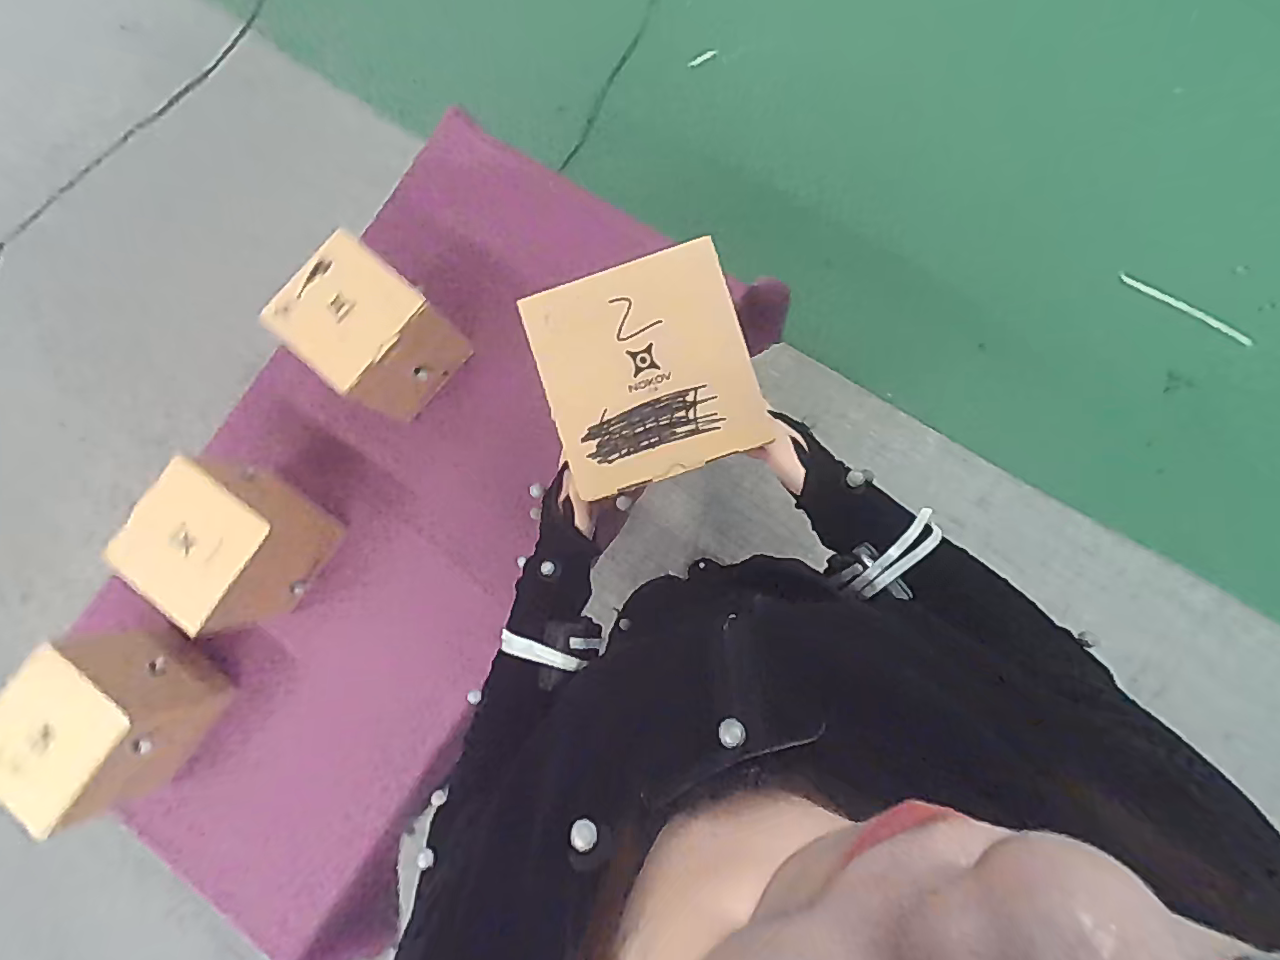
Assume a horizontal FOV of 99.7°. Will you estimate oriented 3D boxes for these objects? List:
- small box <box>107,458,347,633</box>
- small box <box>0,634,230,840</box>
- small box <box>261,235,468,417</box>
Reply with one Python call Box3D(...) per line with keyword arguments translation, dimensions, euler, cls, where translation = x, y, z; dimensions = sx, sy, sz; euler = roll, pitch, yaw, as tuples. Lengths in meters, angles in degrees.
Box3D(translation=(-0.575, 0.094, 0.777), dimensions=(0.179, 0.176, 0.168), euler=(34, 87, 9), cls="small box")
Box3D(translation=(-0.729, 0.336, 0.754), dimensions=(0.168, 0.176, 0.179), euler=(34, 86, 9), cls="small box")
Box3D(translation=(-0.391, -0.212, 0.802), dimensions=(0.179, 0.176, 0.168), euler=(40, 87, 9), cls="small box")
